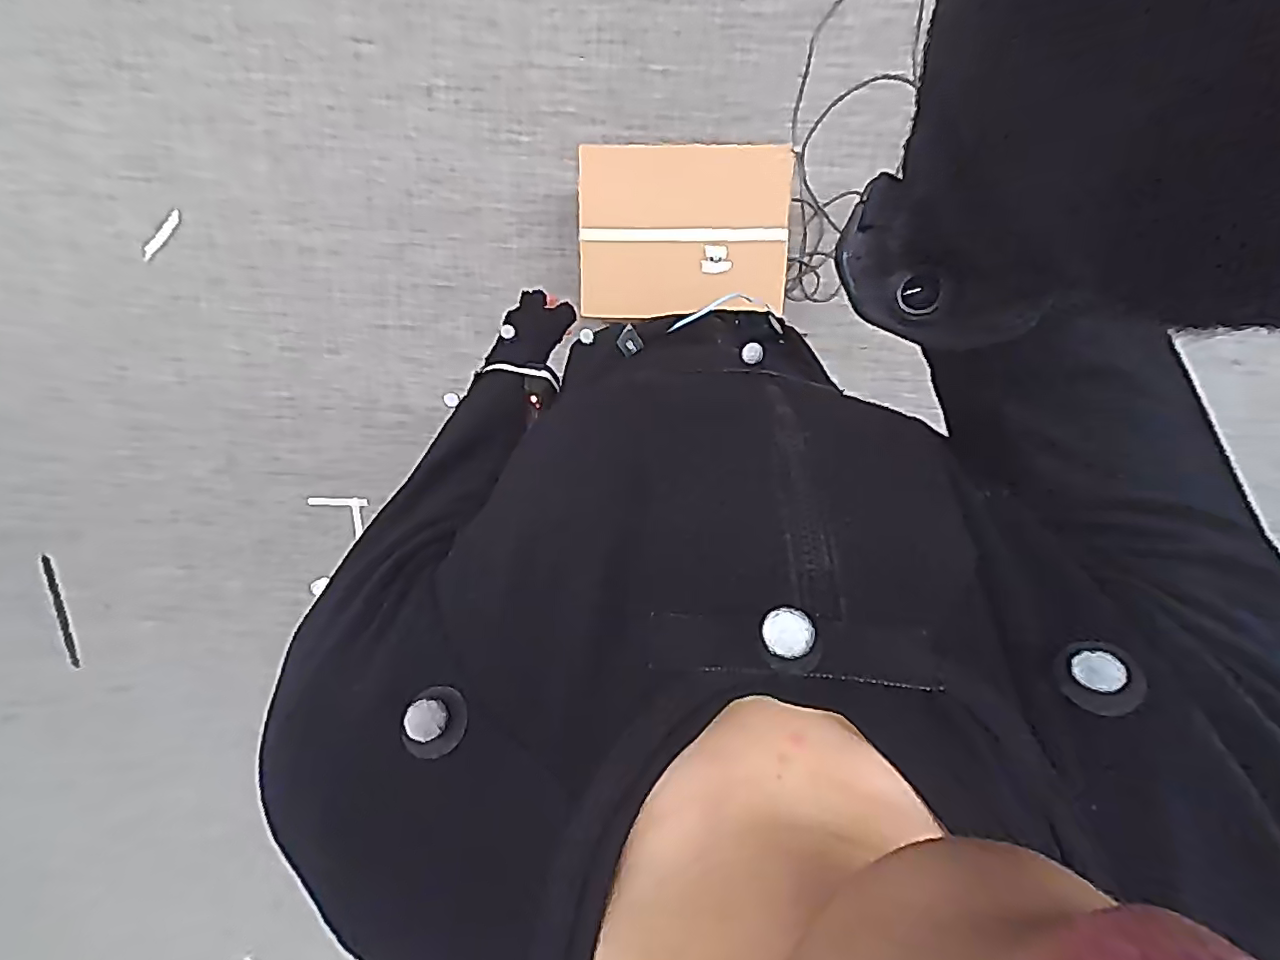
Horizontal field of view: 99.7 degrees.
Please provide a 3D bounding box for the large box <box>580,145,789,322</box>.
[{"bbox_3d":[0.086,-0.519,1.202,0.408,0.320,0.320,2,105,2],"label":"large box"}]
